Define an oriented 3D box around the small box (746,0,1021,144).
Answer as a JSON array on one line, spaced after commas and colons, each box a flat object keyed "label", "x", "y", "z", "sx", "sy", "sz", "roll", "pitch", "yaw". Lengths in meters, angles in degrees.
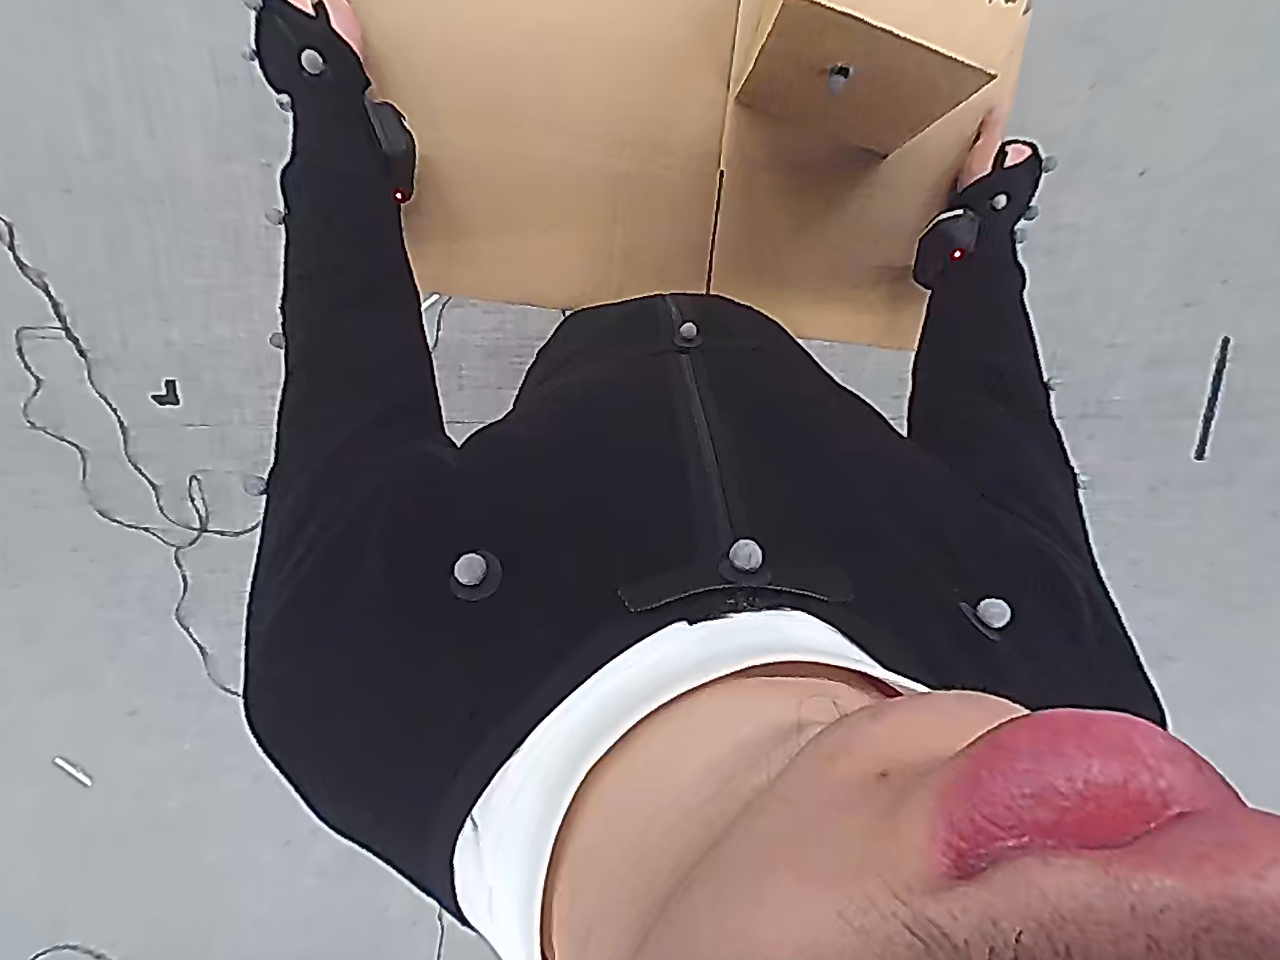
[{"label": "small box", "x": 0.210, "y": -0.429, "z": 0.472, "sx": 0.179, "sy": 0.176, "sz": 0.168, "roll": 15, "pitch": 101, "yaw": -6}]
